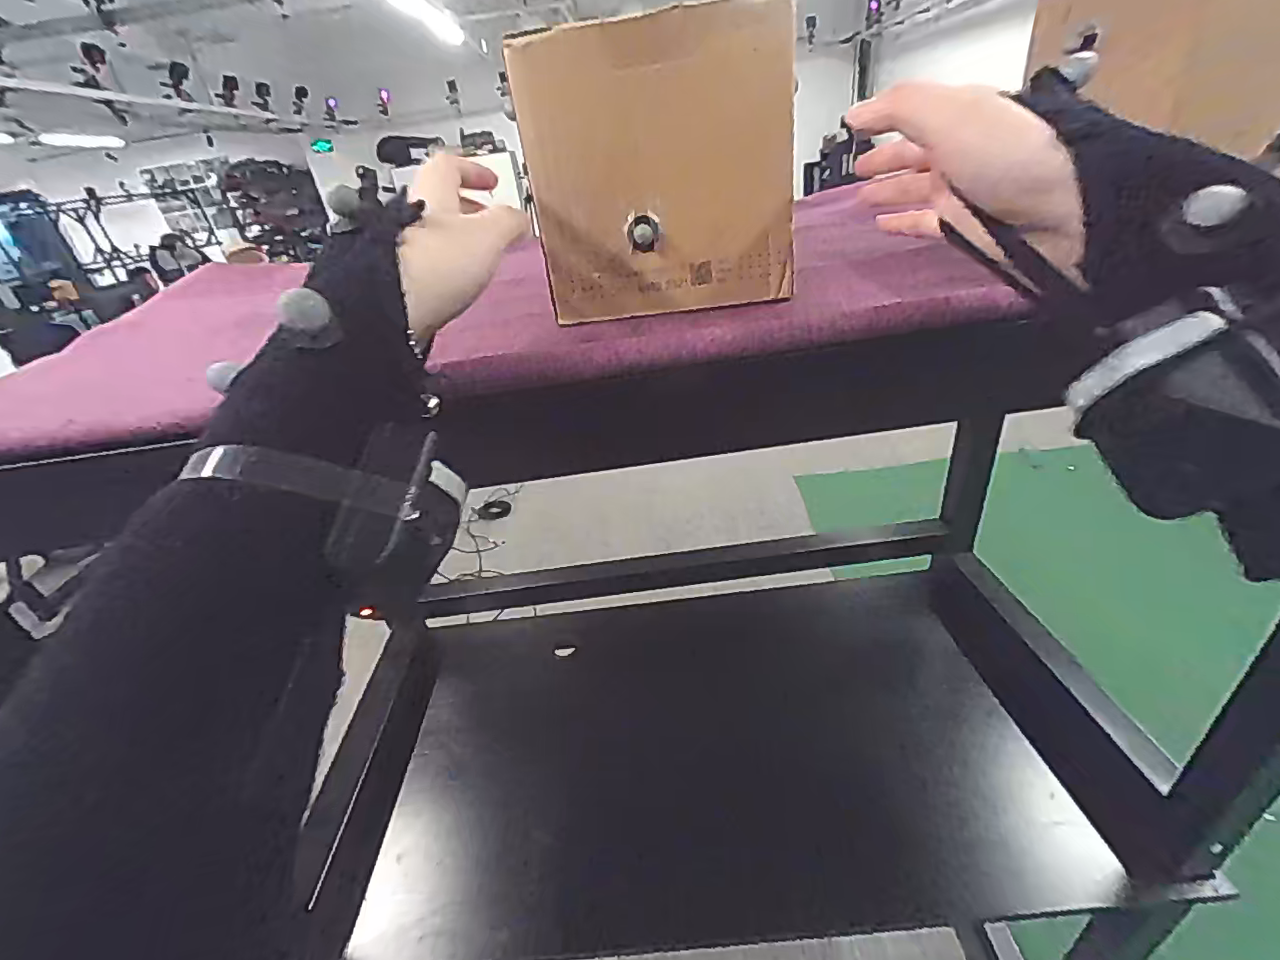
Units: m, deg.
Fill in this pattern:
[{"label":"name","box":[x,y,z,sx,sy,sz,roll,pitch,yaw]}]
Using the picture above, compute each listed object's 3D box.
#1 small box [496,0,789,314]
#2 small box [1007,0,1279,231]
[{"label":"small box","box":[0.013,-0.232,0.407,0.168,0.176,0.179,-6,30,6]},{"label":"small box","box":[0.395,-0.281,0.378,0.168,0.176,0.179,-6,32,8]}]
